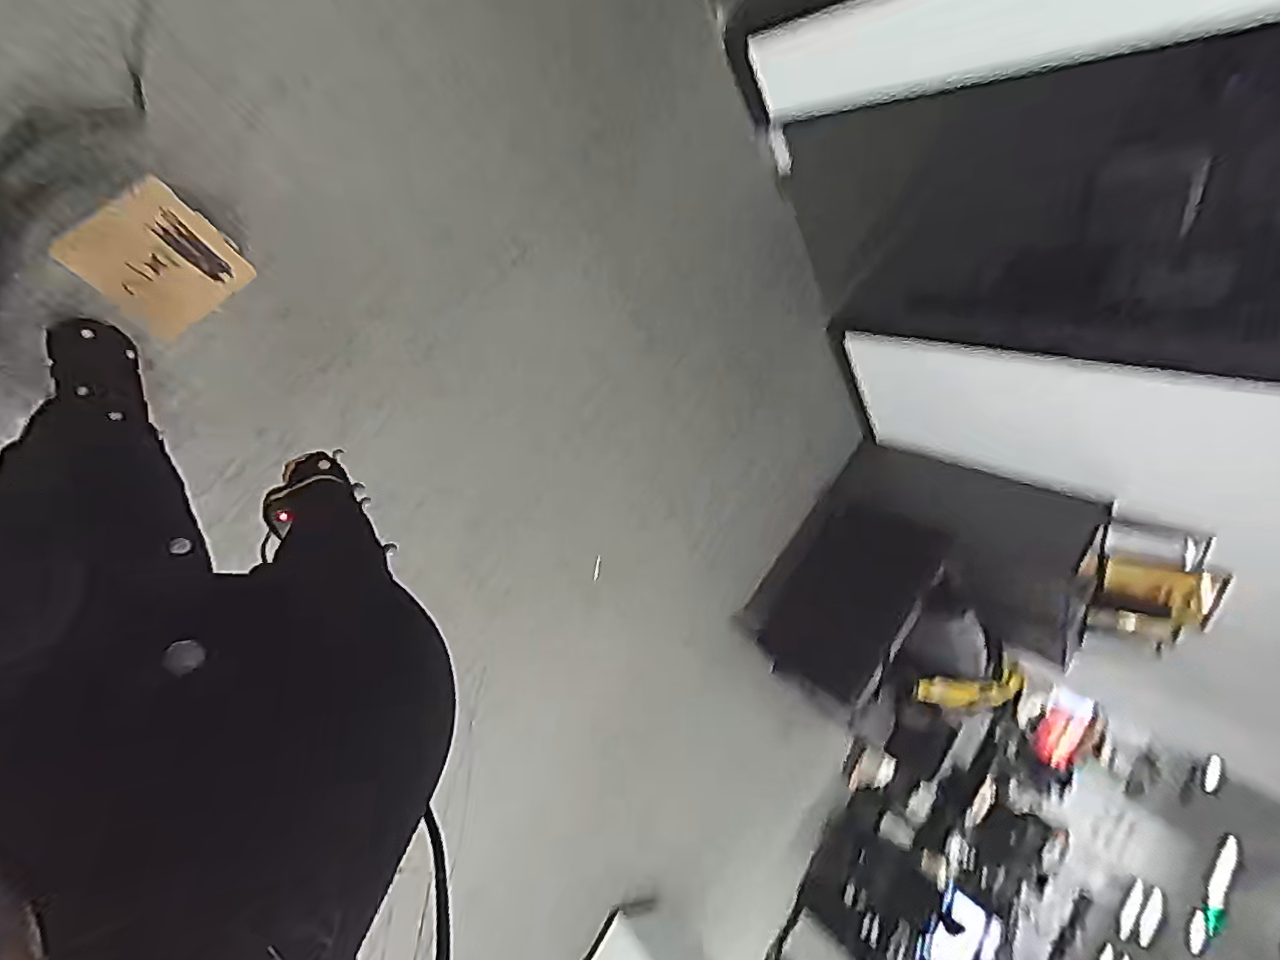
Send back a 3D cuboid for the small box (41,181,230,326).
[{"bbox_3d":[-0.873,-0.396,0.953,0.179,0.176,0.168,-46,133,-18],"label":"small box"}]
